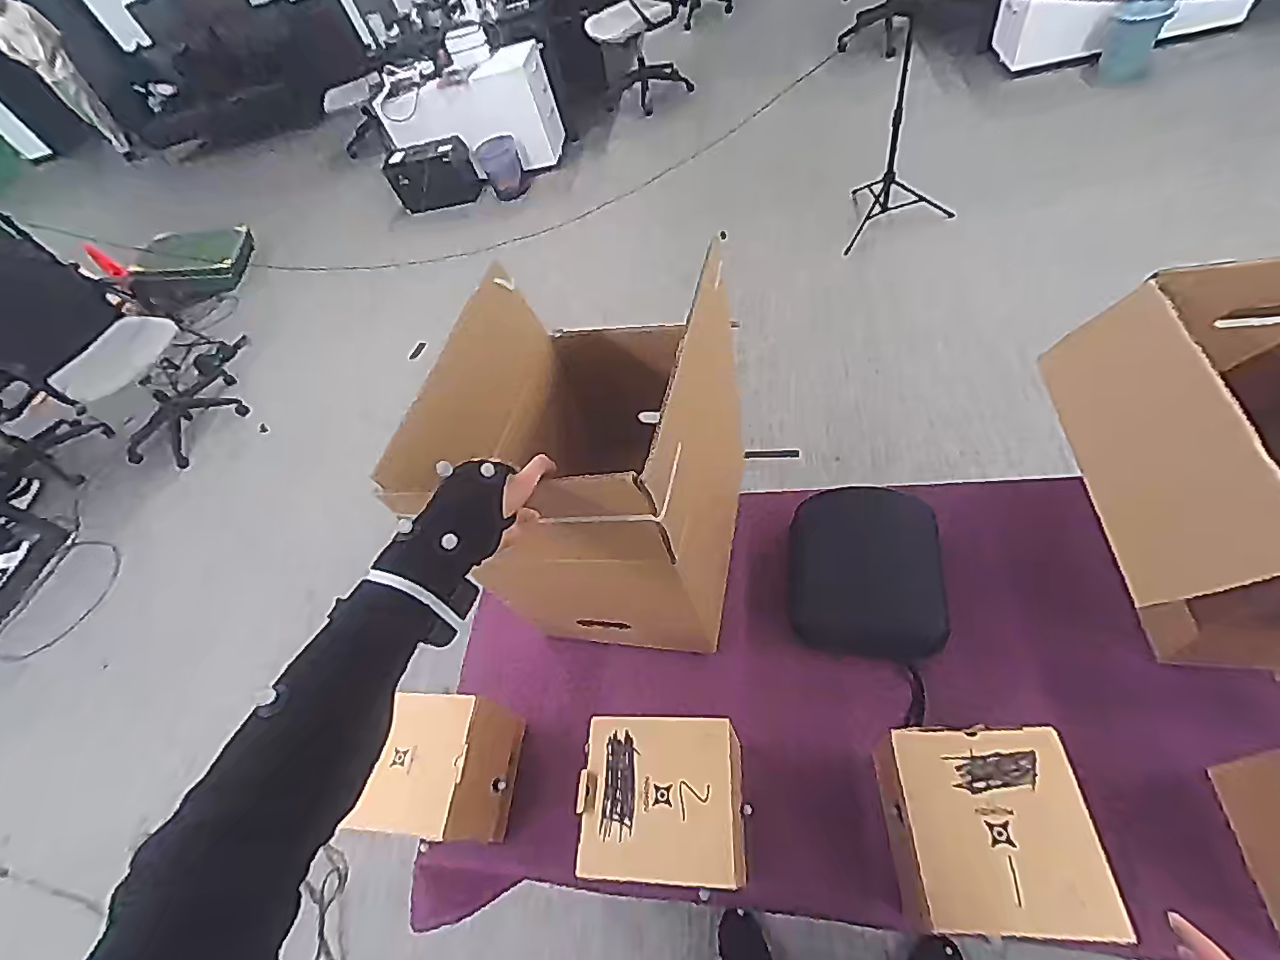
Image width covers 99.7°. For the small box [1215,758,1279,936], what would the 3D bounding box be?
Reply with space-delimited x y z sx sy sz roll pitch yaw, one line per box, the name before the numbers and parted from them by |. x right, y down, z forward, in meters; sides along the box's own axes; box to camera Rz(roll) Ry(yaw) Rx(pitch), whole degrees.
small box | 0.720 0.365 0.510 0.168 0.176 0.179 -3 55 16

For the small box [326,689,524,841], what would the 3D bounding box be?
small box | -0.290 0.408 0.772 0.179 0.176 0.168 -2 55 13

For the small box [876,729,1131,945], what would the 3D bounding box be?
small box | 0.371 0.386 0.598 0.168 0.176 0.179 -6 55 12
